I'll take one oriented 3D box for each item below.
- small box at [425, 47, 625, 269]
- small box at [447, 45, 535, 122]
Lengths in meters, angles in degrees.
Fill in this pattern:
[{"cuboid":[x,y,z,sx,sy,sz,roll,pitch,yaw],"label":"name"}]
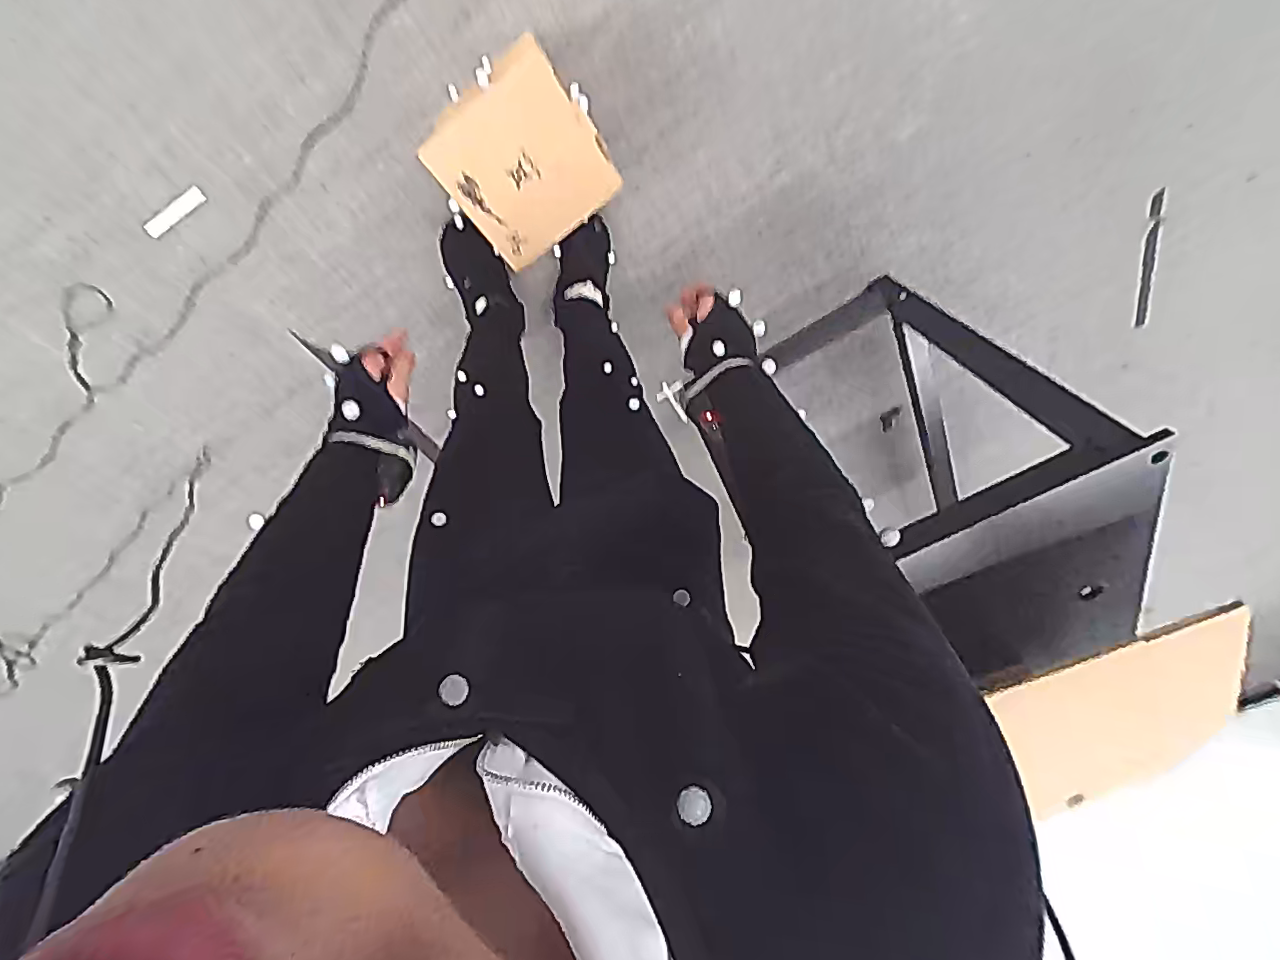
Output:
[{"cuboid":[-0.146,-0.413,0.695,0.179,0.176,0.168,-34,127,13],"label":"small box"},{"cuboid":[-0.209,-0.617,0.942,0.179,0.176,0.168,-32,128,13],"label":"small box"}]
